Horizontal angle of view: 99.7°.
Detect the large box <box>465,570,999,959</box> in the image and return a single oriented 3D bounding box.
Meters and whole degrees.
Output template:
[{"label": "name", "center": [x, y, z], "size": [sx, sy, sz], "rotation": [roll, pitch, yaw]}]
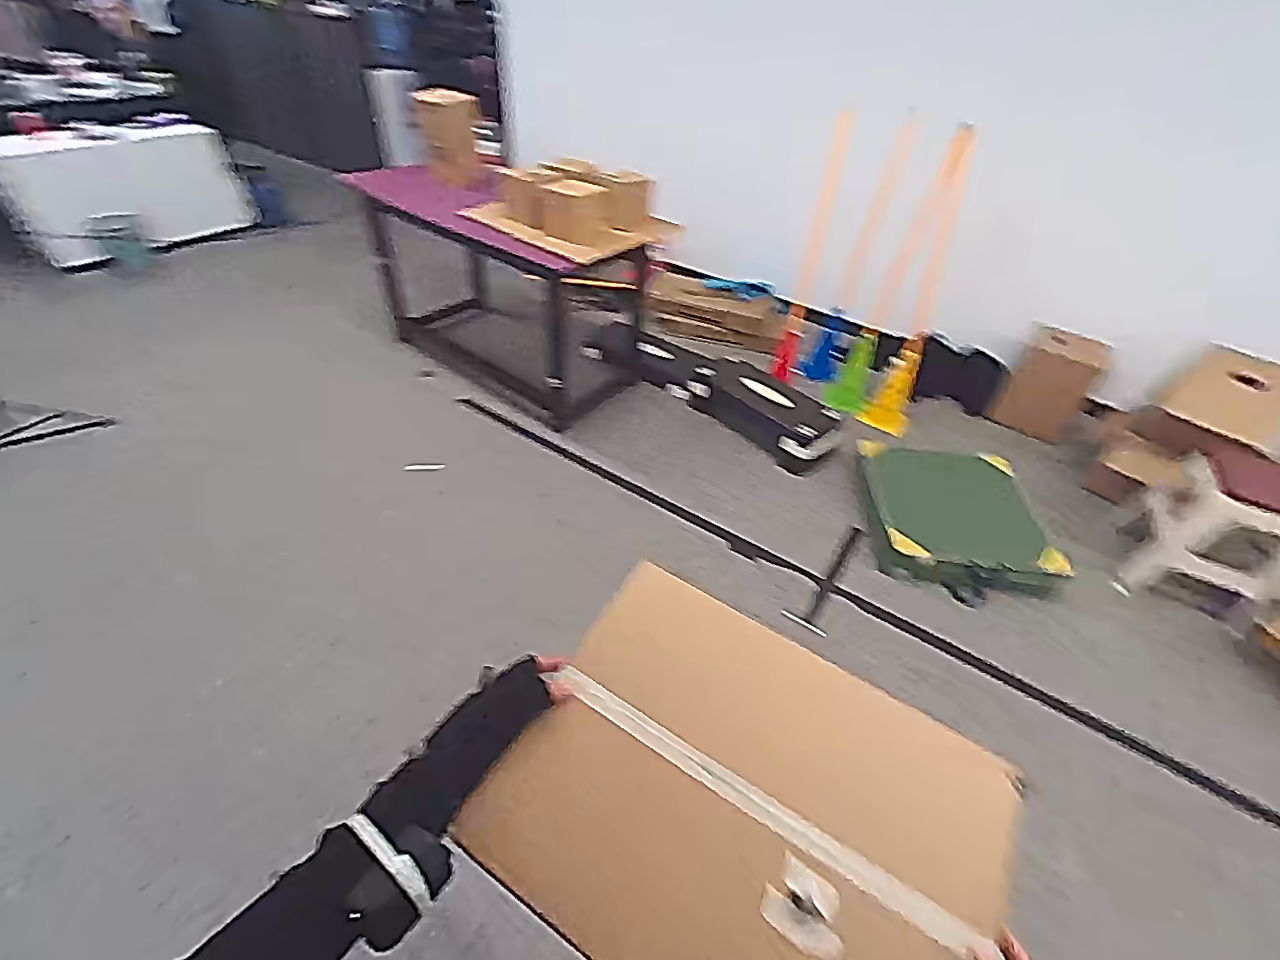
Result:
[{"label": "large box", "center": [0.085, 0.376, 0.594], "size": [0.408, 0.320, 0.320], "rotation": [27, 53, 17]}]
